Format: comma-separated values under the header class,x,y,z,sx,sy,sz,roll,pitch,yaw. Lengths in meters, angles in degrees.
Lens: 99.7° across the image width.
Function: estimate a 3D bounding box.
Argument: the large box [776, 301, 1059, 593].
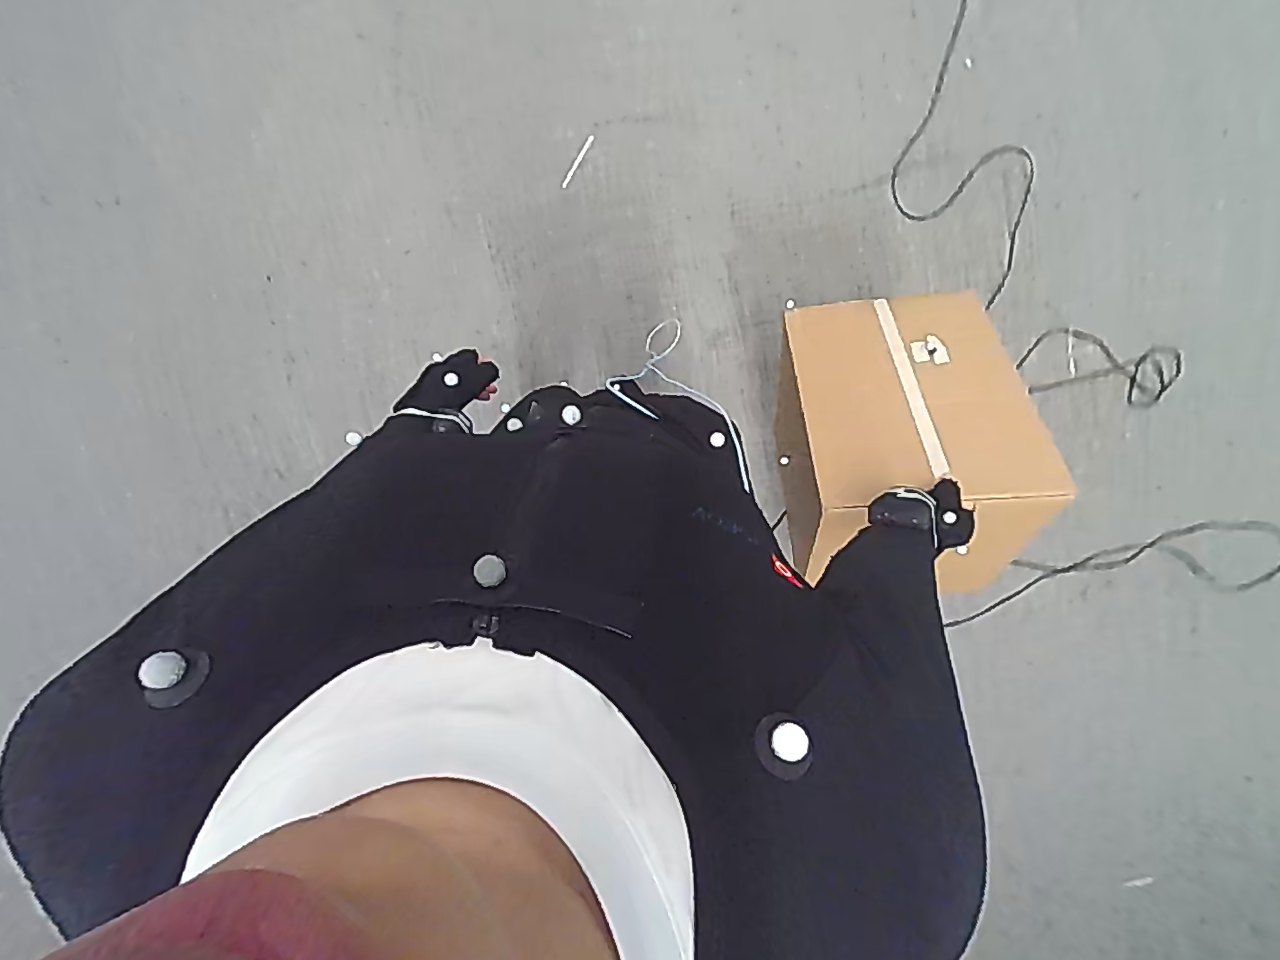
class,x,y,z,sx,sy,sz,roll,pitch,yaw
large box,0.422,-0.049,0.948,0.320,0.320,0.408,-2,56,7
